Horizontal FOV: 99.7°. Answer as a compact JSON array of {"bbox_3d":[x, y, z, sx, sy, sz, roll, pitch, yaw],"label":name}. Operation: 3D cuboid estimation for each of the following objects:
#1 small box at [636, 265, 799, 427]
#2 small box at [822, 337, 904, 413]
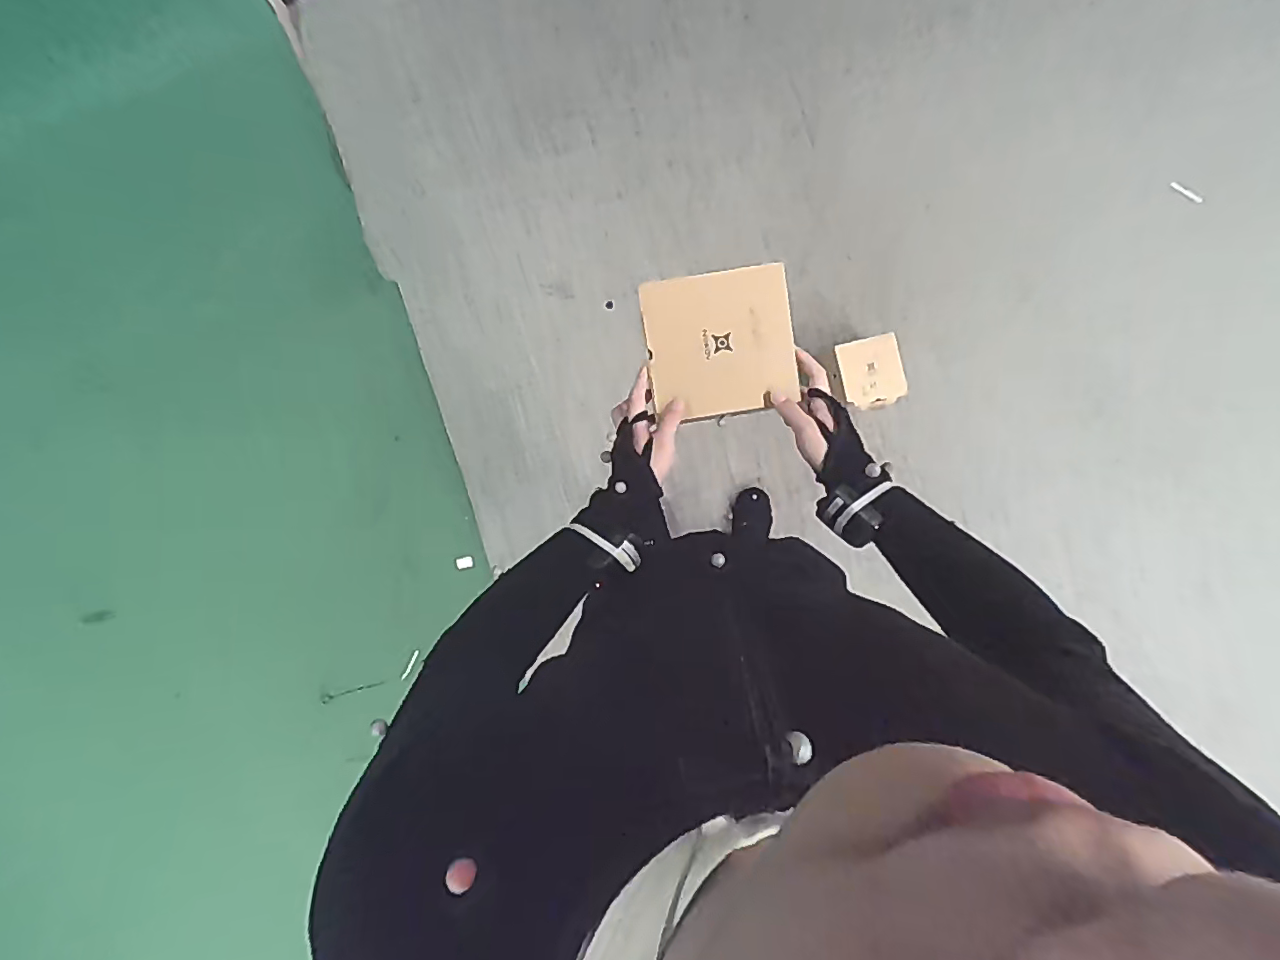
[{"bbox_3d":[0.095,-0.163,0.711,0.179,0.176,0.168,-8,94,2],"label":"small box"},{"bbox_3d":[0.623,-0.291,1.527,0.168,0.176,0.179,-6,92,5],"label":"small box"}]
